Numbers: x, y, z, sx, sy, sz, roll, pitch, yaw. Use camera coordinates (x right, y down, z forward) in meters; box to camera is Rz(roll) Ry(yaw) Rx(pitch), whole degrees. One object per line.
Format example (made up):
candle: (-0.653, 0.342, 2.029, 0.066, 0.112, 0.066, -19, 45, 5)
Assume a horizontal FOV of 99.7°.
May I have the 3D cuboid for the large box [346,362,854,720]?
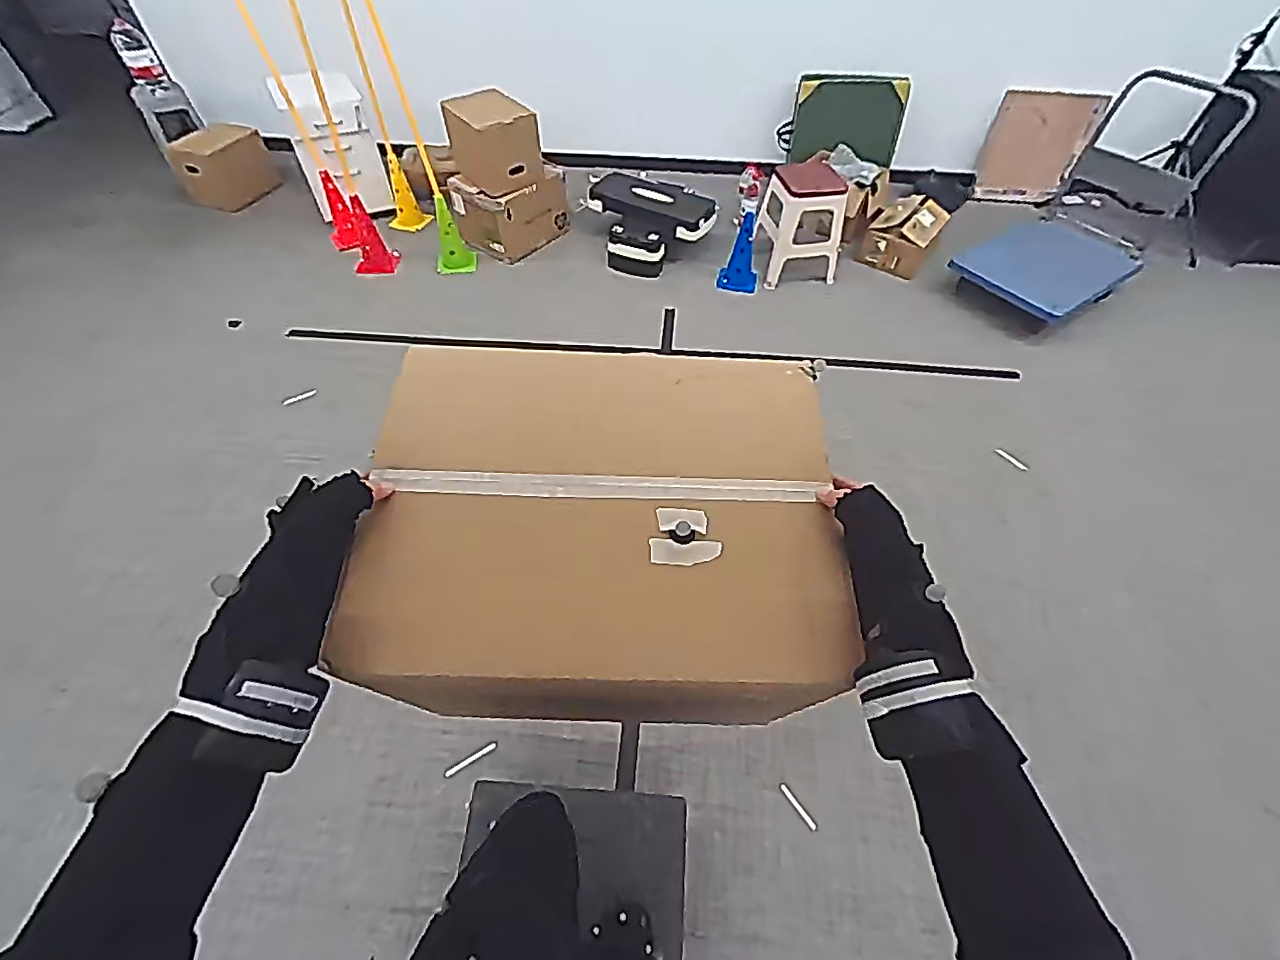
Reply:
large box: (-0.035, 0.089, 0.618, 0.408, 0.320, 0.320, 2, 61, -2)
